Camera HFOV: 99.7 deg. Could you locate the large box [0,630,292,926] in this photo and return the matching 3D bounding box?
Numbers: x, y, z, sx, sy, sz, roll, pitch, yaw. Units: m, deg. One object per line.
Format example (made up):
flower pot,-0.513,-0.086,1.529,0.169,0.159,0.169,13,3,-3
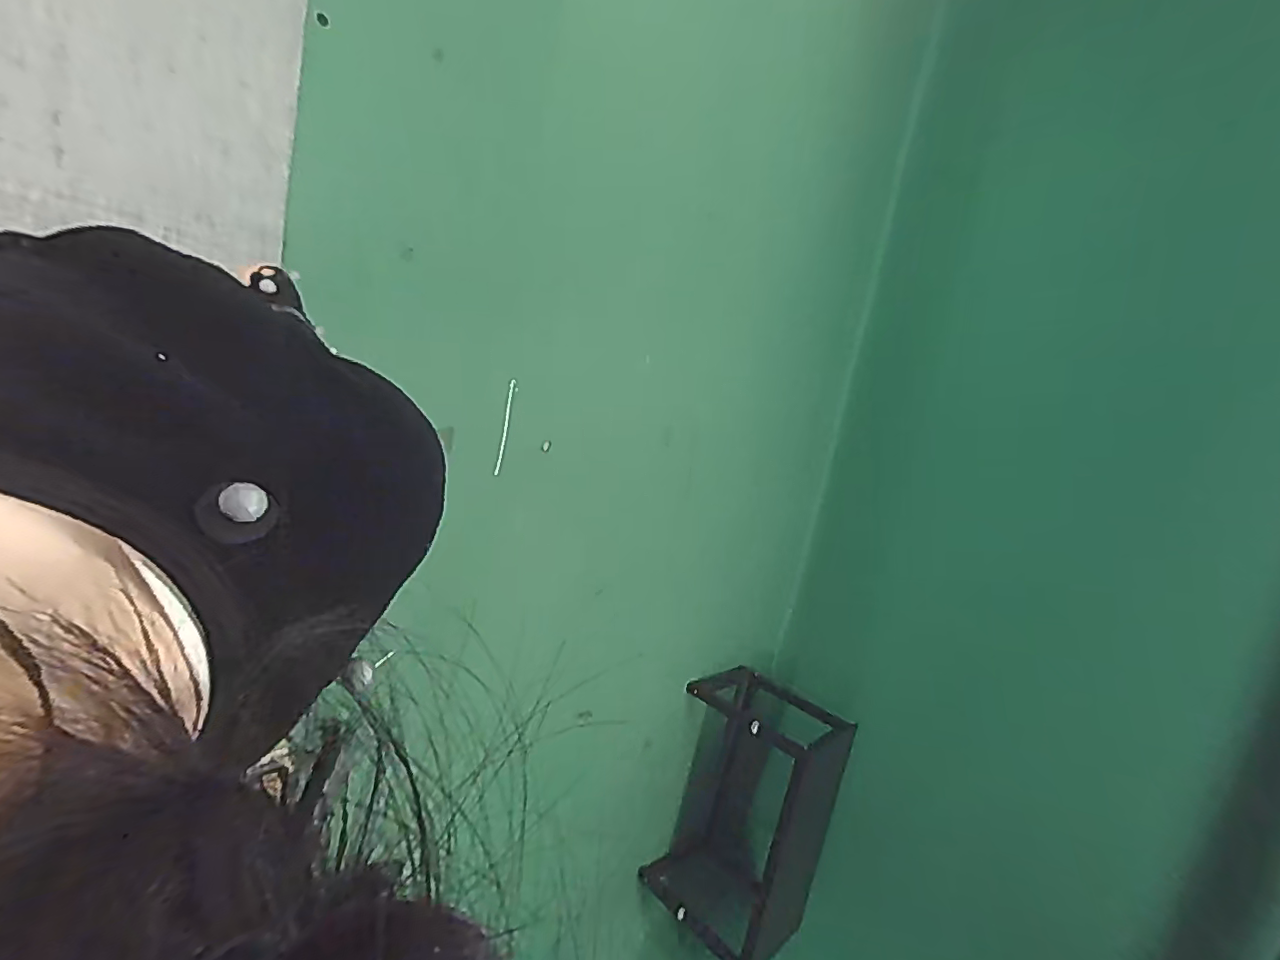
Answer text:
large box,-1.048,0.589,1.162,0.408,0.320,0.320,-18,117,-45
